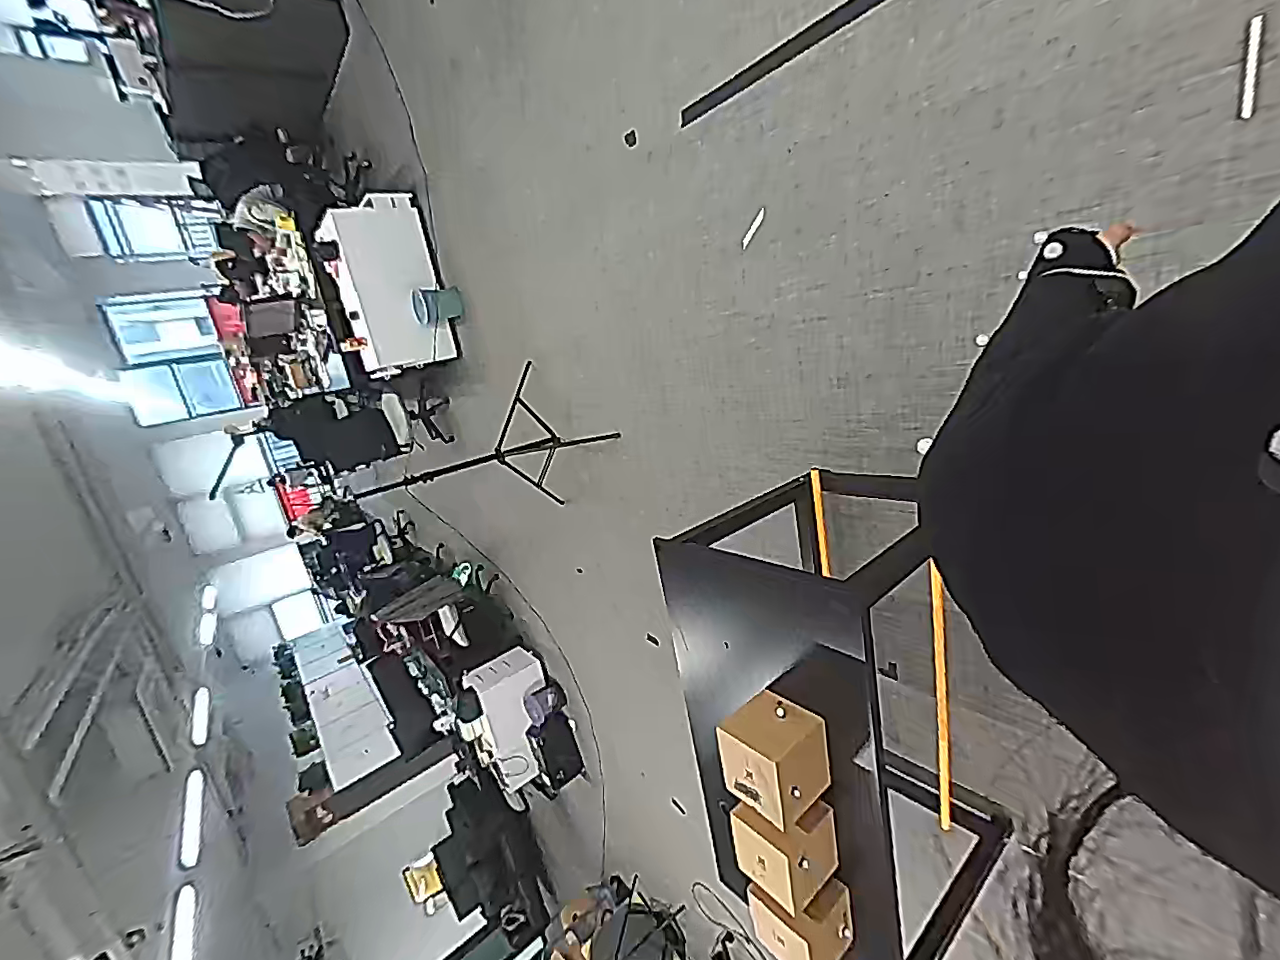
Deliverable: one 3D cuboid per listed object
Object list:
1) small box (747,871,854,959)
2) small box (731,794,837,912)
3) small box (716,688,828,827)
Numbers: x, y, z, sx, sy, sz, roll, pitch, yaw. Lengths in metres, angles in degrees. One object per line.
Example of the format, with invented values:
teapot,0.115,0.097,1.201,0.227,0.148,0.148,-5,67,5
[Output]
small box,0.389,1.036,1.306,0.179,0.176,0.168,8,115,52
small box,0.337,0.827,1.259,0.168,0.176,0.179,11,117,52
small box,0.295,0.599,1.191,0.168,0.176,0.179,10,115,52
